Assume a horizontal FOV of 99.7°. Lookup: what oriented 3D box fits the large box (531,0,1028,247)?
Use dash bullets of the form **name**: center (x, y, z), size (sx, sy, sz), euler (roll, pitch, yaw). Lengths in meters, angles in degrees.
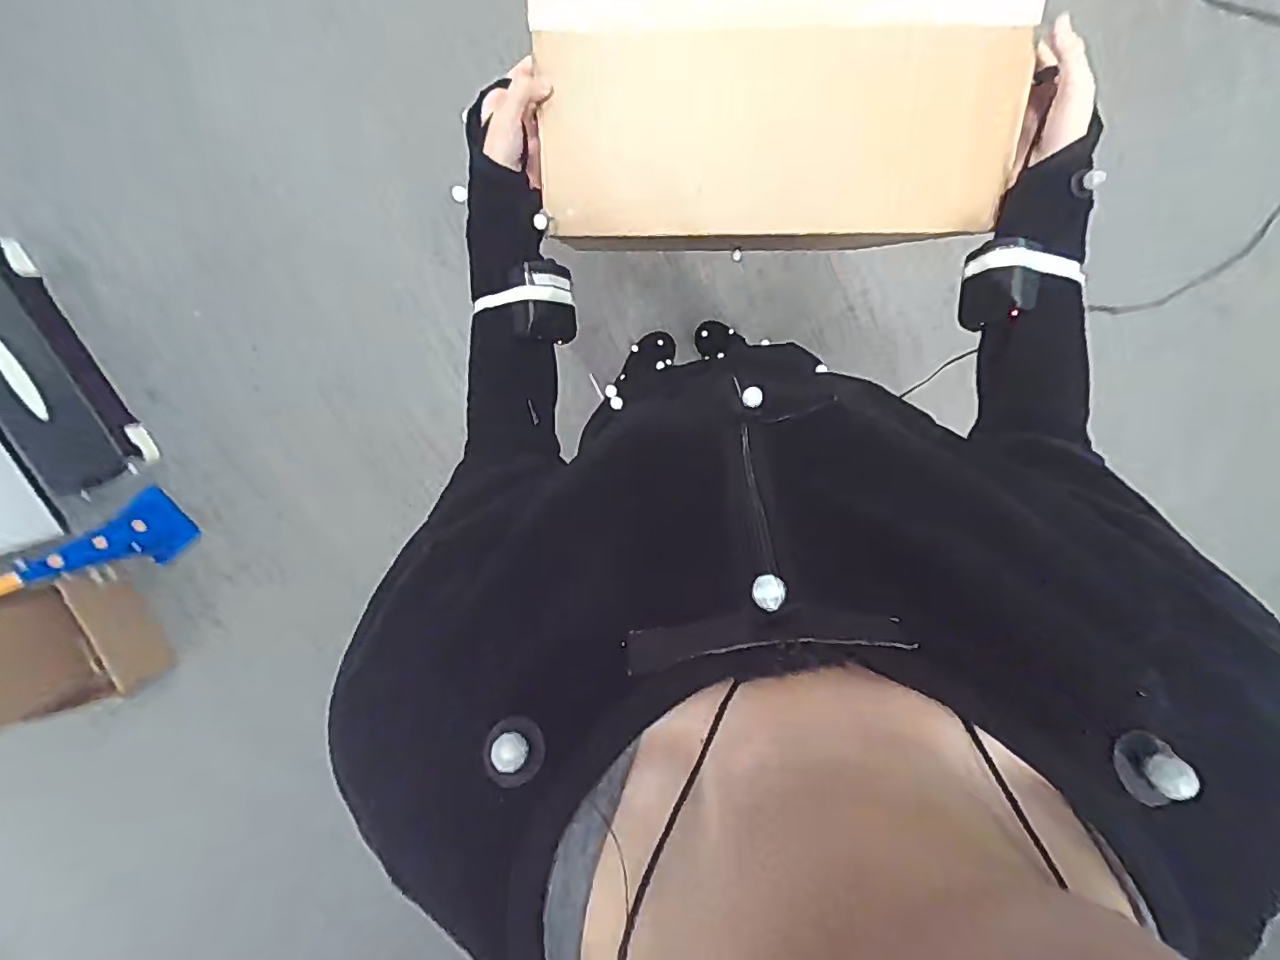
- **large box**: center (0.111, -0.422, 0.575), size (0.408, 0.320, 0.320), euler (0, 110, -1)
